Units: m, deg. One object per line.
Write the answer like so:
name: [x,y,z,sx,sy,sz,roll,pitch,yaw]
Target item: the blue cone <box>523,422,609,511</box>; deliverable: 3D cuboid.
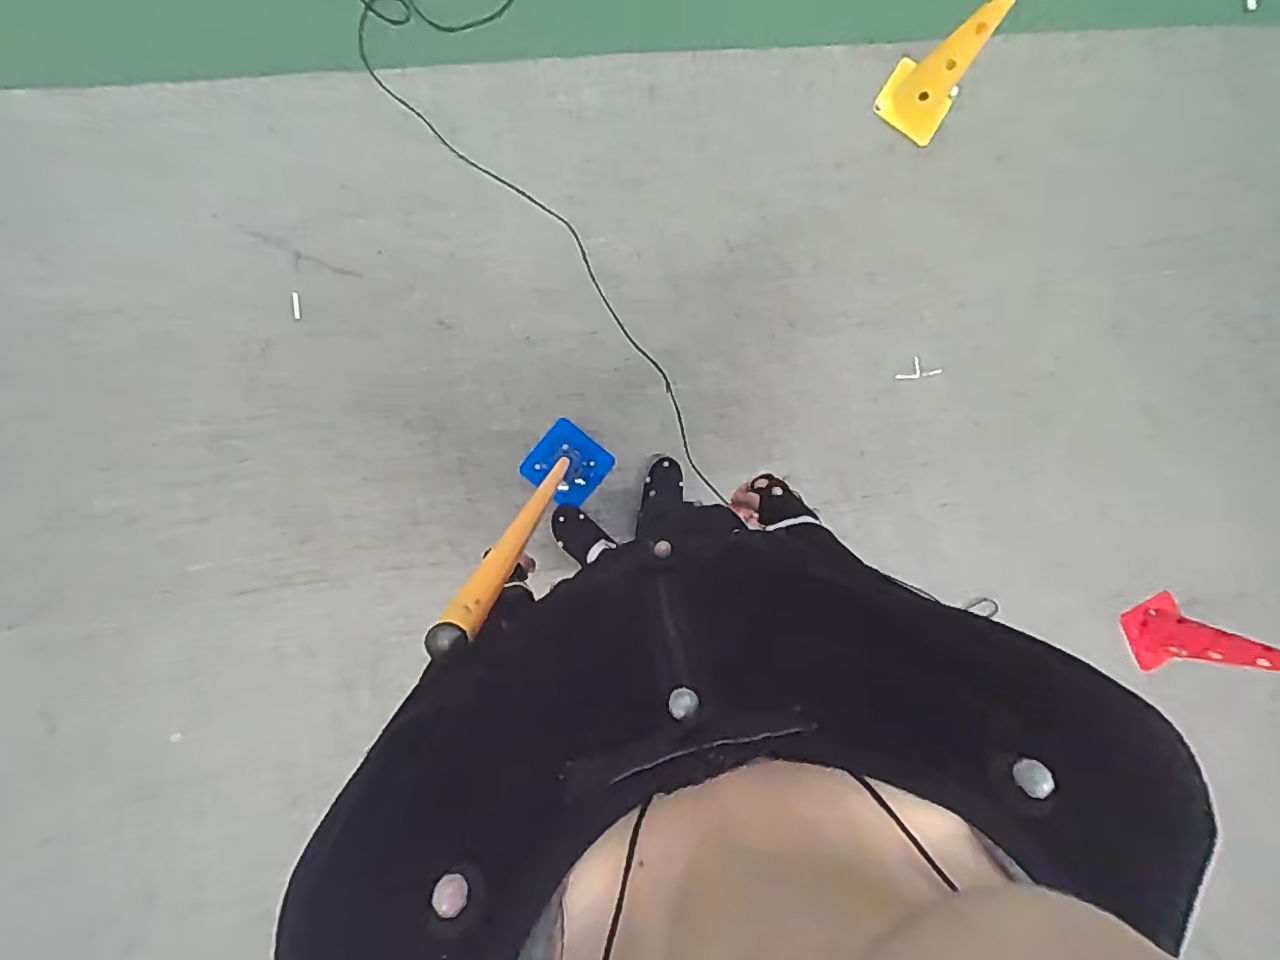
blue cone: [-0.179,-0.031,1.294,0.192,0.380,0.193,38,87,-6]
